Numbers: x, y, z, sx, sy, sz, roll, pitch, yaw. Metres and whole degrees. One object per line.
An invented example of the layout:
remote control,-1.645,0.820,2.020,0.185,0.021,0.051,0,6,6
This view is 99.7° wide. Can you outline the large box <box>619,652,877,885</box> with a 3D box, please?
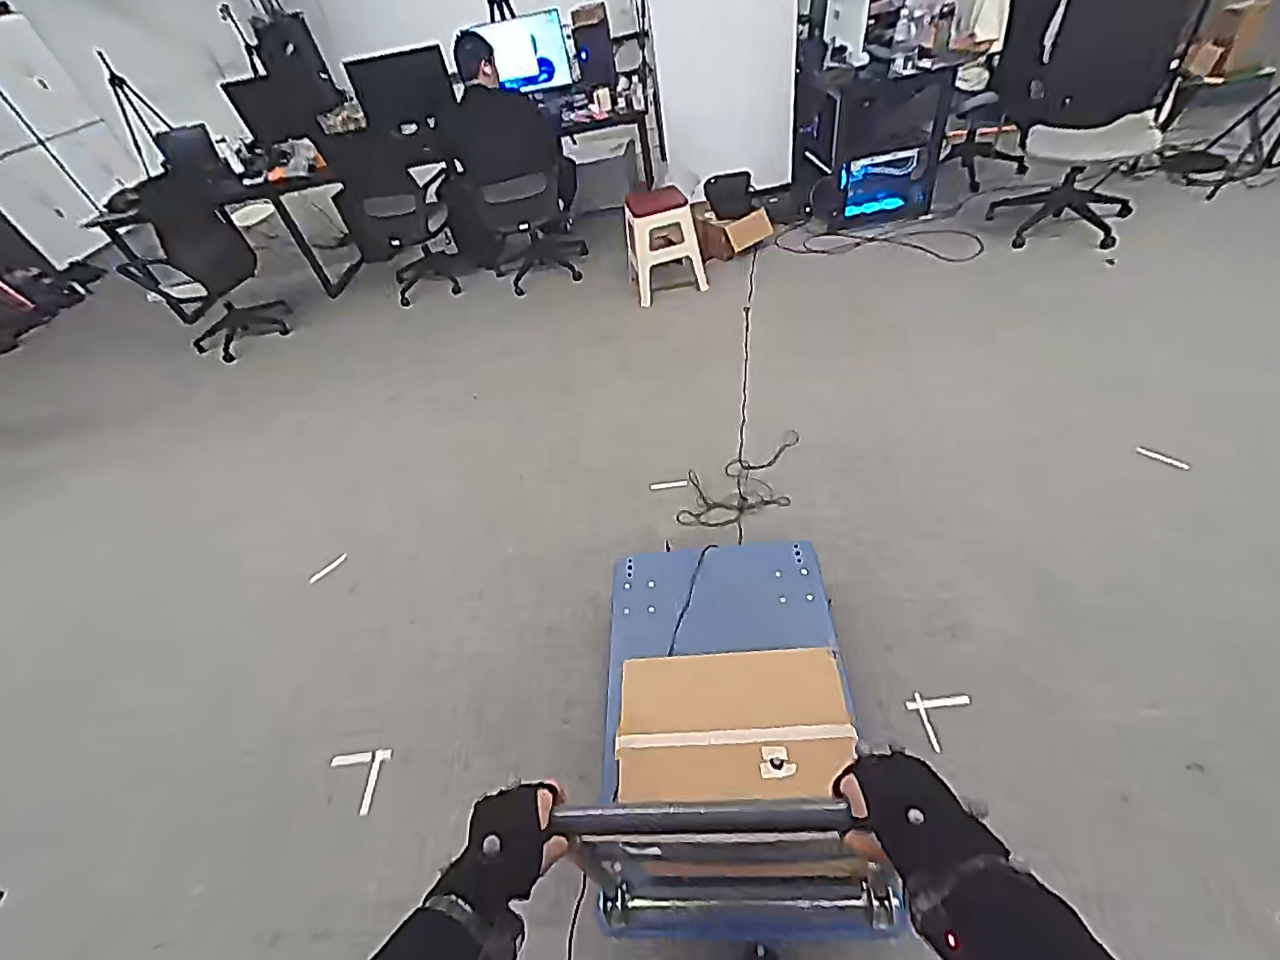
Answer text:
large box,0.183,0.558,1.038,0.408,0.320,0.320,-6,46,7
